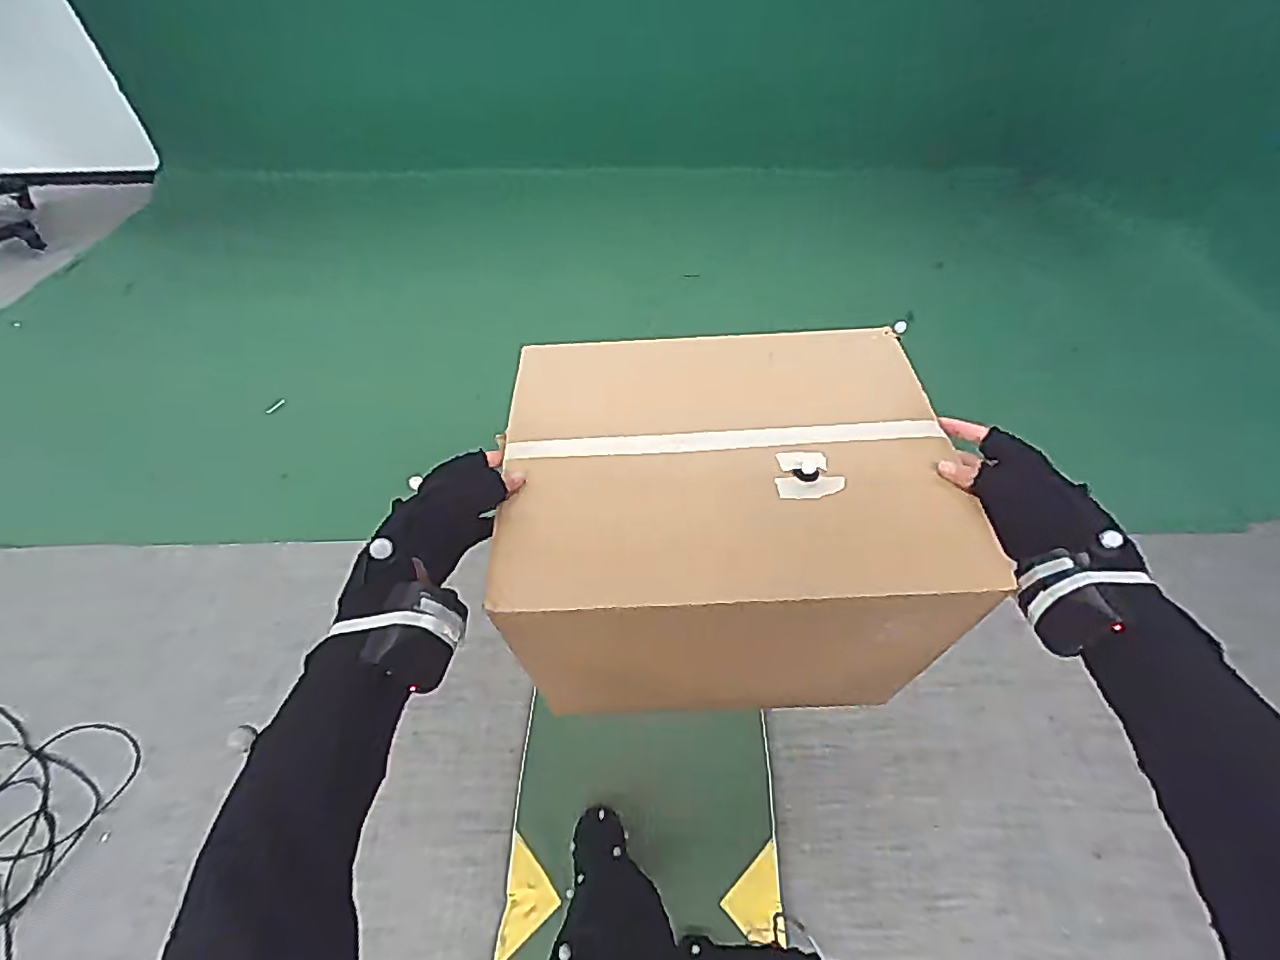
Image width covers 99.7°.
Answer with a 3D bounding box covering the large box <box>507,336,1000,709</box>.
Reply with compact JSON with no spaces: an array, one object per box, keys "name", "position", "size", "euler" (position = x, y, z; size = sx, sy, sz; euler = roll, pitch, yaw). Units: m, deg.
[{"name":"large box","position":[0.087,0.060,0.635],"size":[0.408,0.320,0.320],"euler":[-3,54,0]}]
